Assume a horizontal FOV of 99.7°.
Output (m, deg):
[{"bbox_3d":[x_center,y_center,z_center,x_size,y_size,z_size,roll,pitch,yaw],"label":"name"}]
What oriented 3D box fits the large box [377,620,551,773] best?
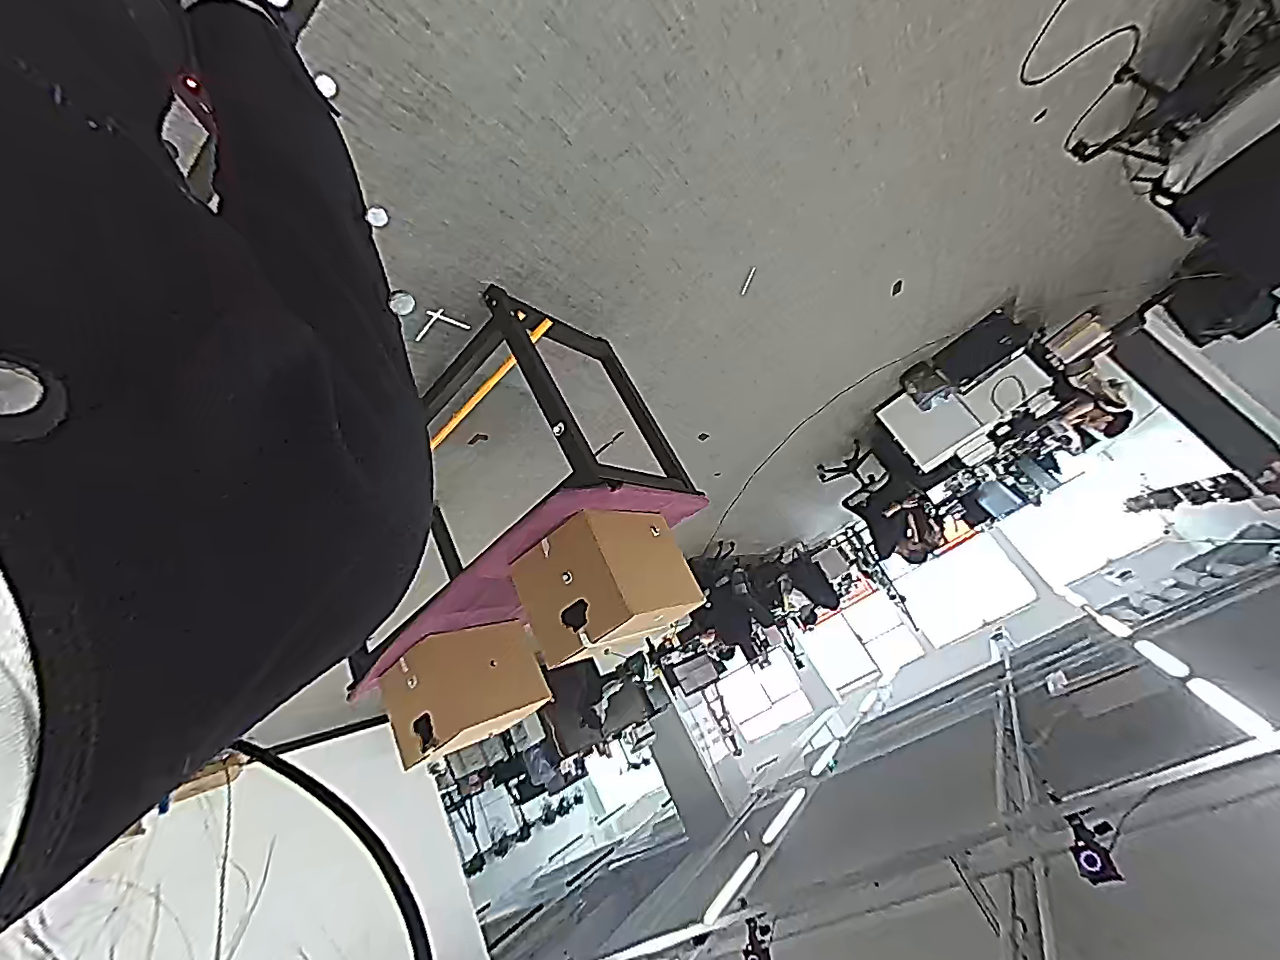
[{"bbox_3d":[-0.590,0.706,1.824,0.320,0.320,0.408,-39,157,23],"label":"large box"}]
